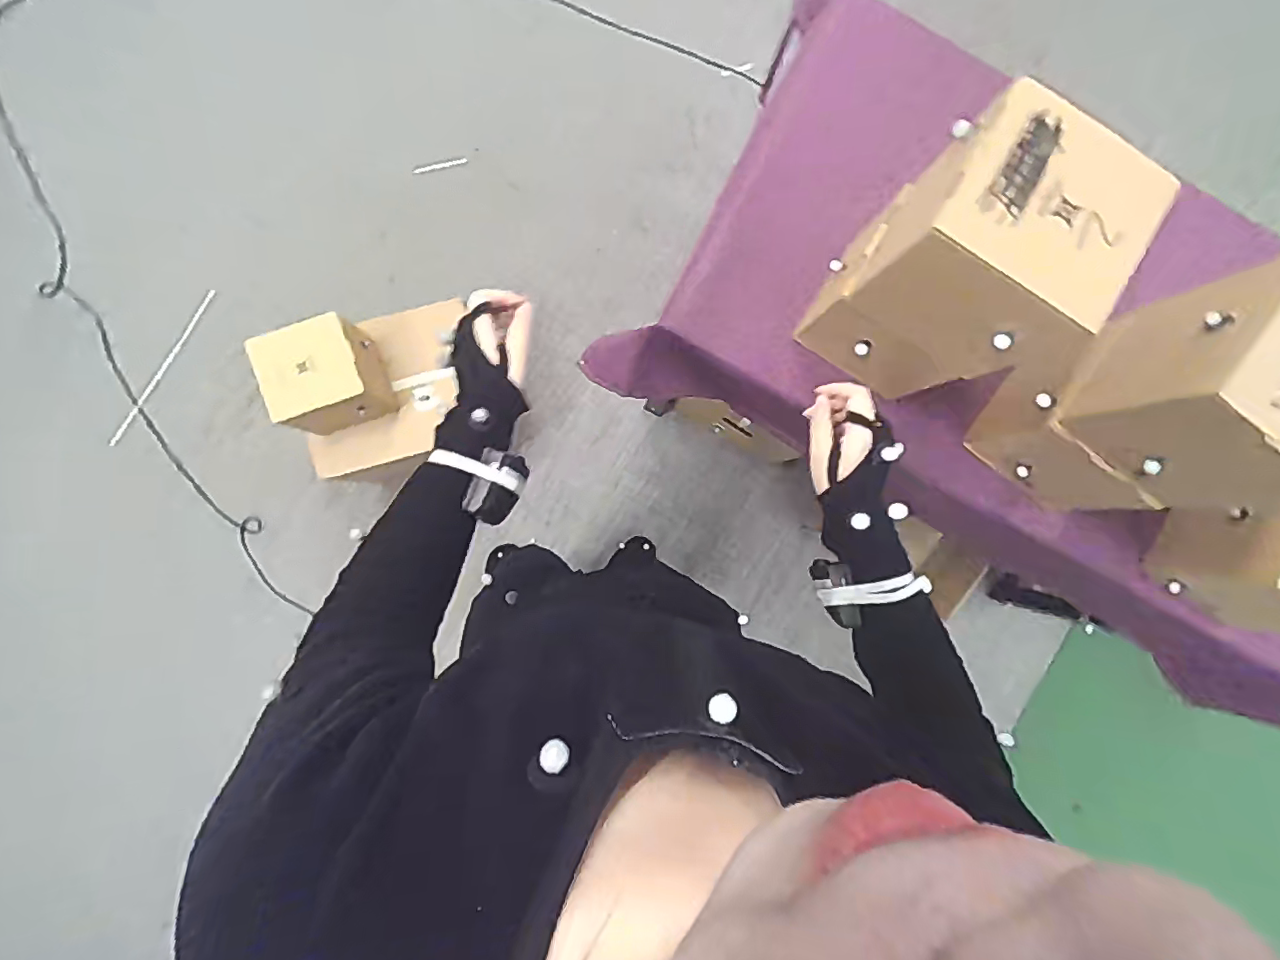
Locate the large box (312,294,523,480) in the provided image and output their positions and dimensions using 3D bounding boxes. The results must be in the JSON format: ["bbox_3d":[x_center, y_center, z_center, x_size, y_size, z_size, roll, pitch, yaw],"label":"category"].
[{"bbox_3d":[-0.539,-0.205,1.324,0.408,0.320,0.320,-16,90,-5],"label":"large box"}]

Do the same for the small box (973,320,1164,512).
[{"bbox_3d":[0.600,-0.077,0.726,0.168,0.176,0.179,38,88,-2],"label":"small box"}]

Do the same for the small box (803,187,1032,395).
[{"bbox_3d":[0.346,-0.231,0.714,0.179,0.176,0.168,33,87,-1],"label":"small box"}]

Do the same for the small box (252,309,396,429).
[{"bbox_3d":[-0.610,-0.211,1.073,0.179,0.176,0.168,-19,88,-4],"label":"small box"}]

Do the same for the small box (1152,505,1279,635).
[{"bbox_3d":[0.866,0.104,0.734,0.168,0.176,0.179,32,86,-2],"label":"small box"}]

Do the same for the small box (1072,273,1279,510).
[{"bbox_3d":[0.615,-0.087,0.562,0.168,0.176,0.179,39,87,-1],"label":"small box"}]
